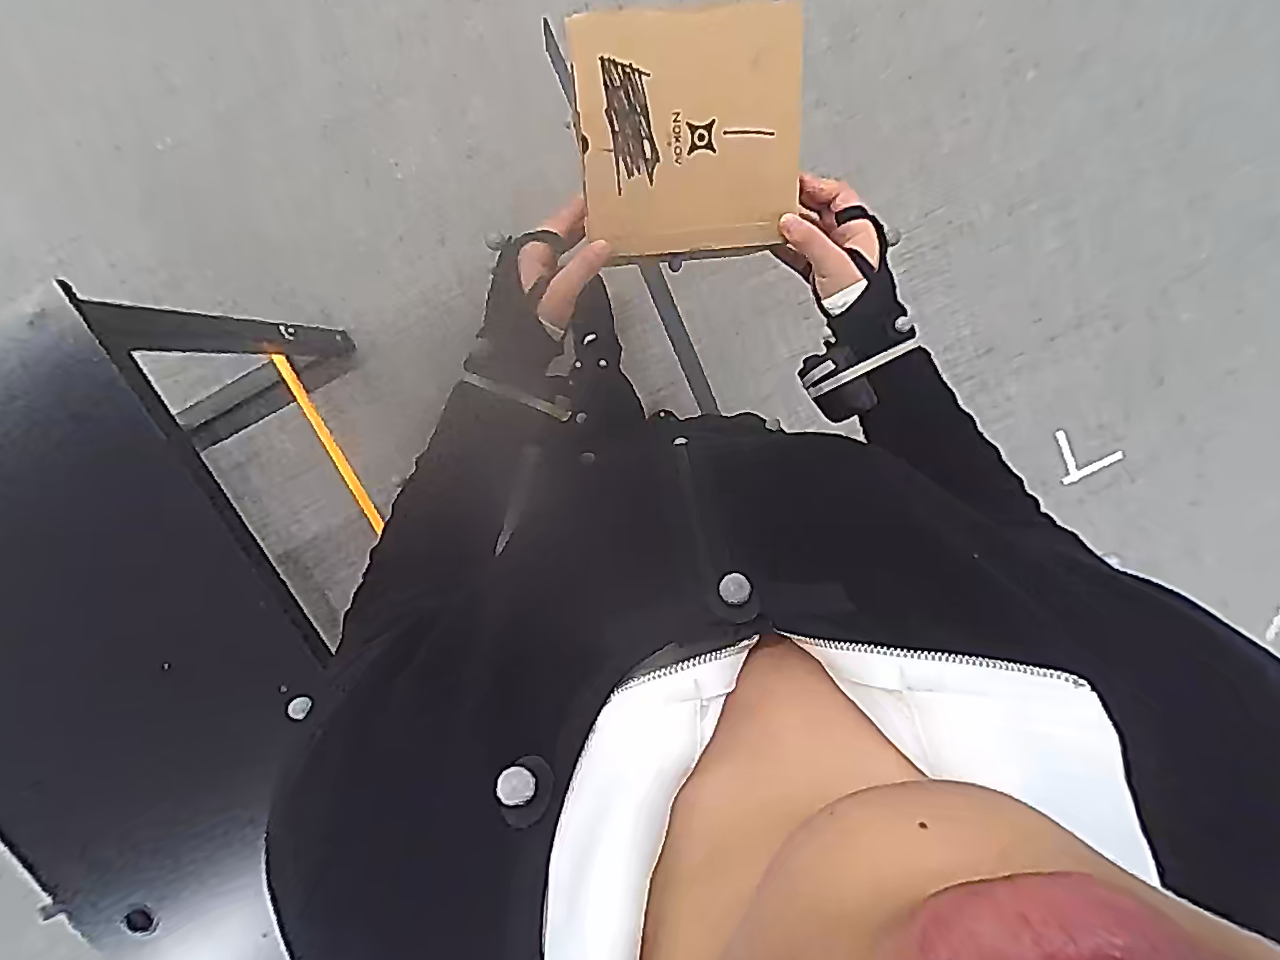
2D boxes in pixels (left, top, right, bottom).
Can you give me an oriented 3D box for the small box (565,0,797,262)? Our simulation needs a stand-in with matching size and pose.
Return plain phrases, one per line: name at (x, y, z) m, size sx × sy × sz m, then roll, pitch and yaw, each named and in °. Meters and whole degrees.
small box at (0.032, -0.300, 0.501) m, size 0.179 × 0.176 × 0.168 m, roll -5°, pitch 109°, yaw -2°
